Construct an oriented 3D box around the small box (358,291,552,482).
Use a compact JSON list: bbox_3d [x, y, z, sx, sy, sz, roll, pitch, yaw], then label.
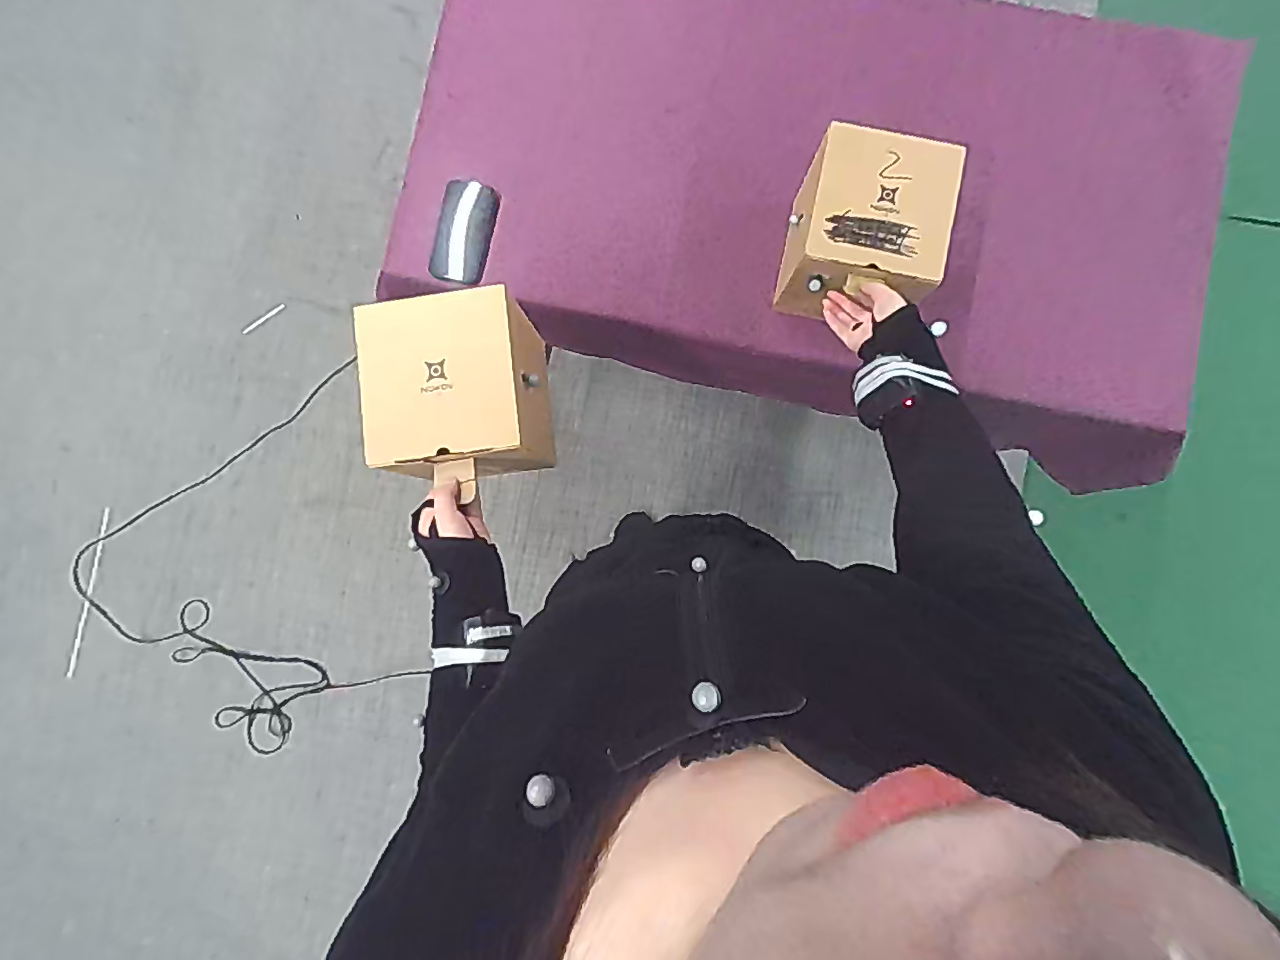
[{"bbox_3d":[-0.208,-0.099,0.647,0.168,0.176,0.179,-7,85,3],"label":"small box"}]
